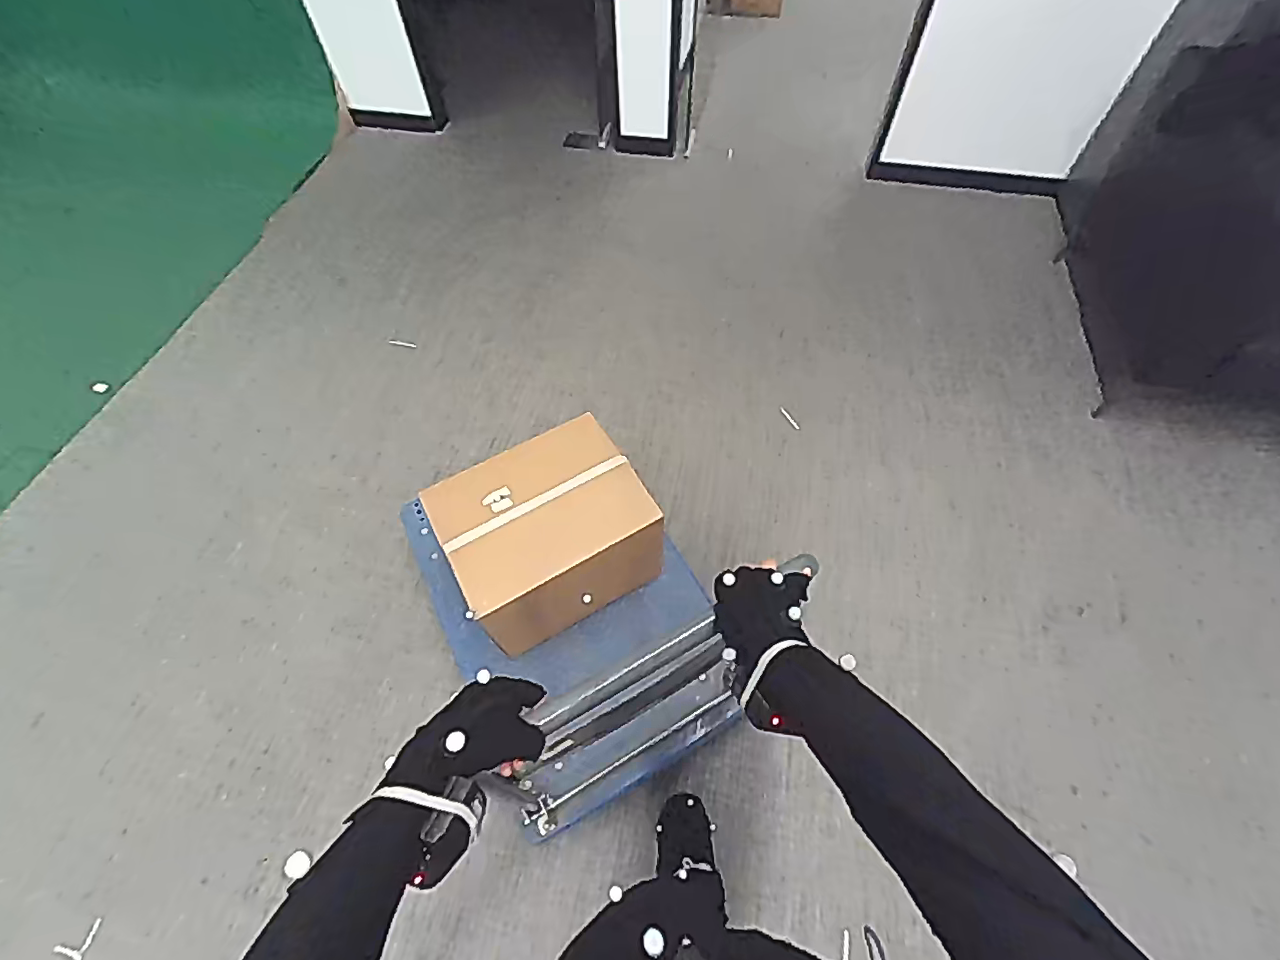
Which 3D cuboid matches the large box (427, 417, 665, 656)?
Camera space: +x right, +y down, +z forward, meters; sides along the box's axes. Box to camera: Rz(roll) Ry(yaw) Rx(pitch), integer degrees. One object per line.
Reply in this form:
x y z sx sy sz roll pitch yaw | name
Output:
-0.190 0.133 1.225 0.408 0.320 0.320 -29 62 -15 | large box
